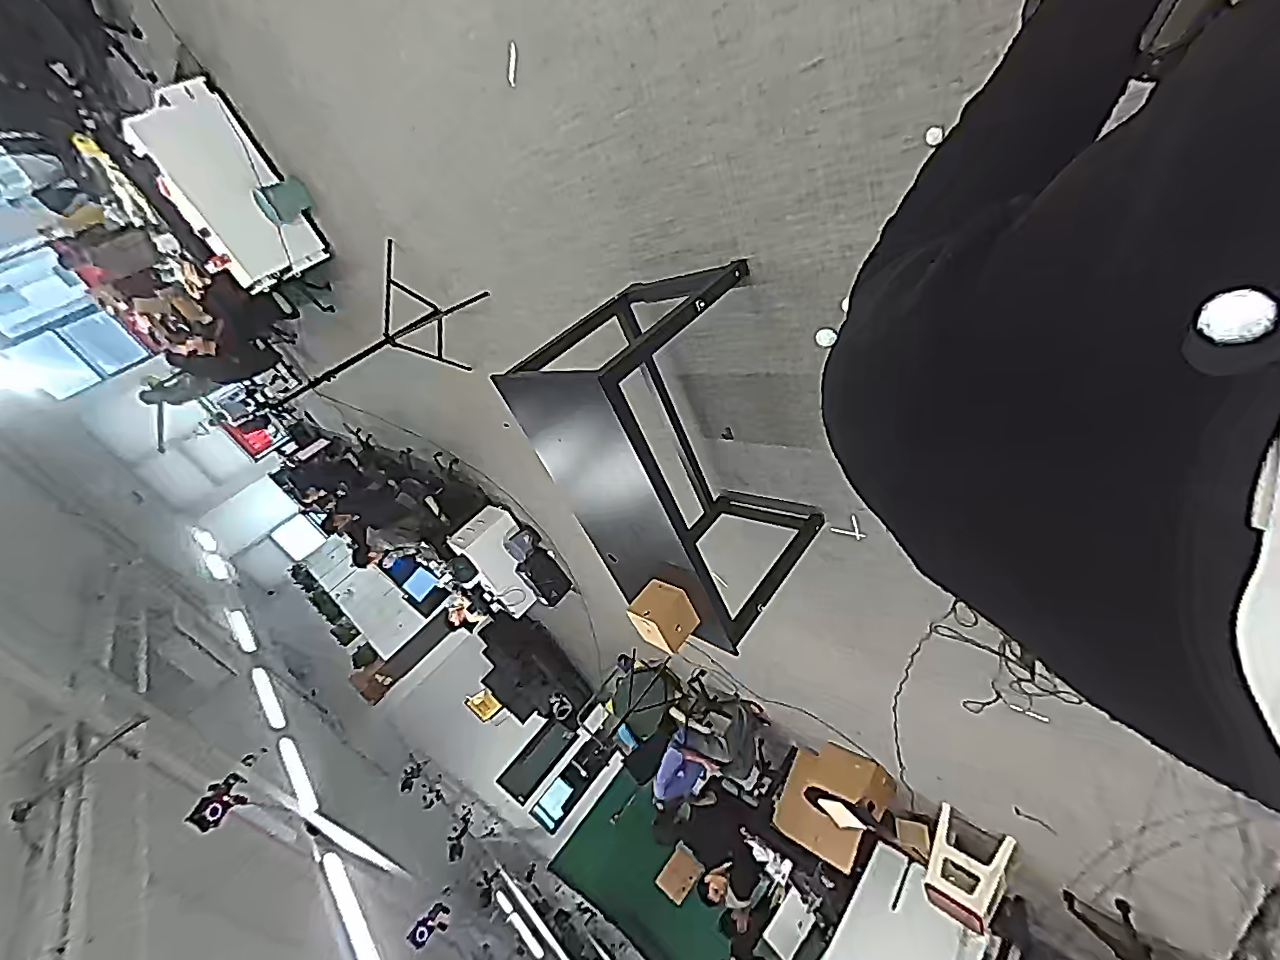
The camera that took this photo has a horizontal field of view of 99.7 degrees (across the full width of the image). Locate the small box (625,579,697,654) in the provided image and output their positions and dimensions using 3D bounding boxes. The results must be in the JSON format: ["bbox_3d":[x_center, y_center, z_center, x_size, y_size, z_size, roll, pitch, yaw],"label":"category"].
[{"bbox_3d":[0.083,0.498,1.994,0.168,0.176,0.179,10,137,48],"label":"small box"}]
